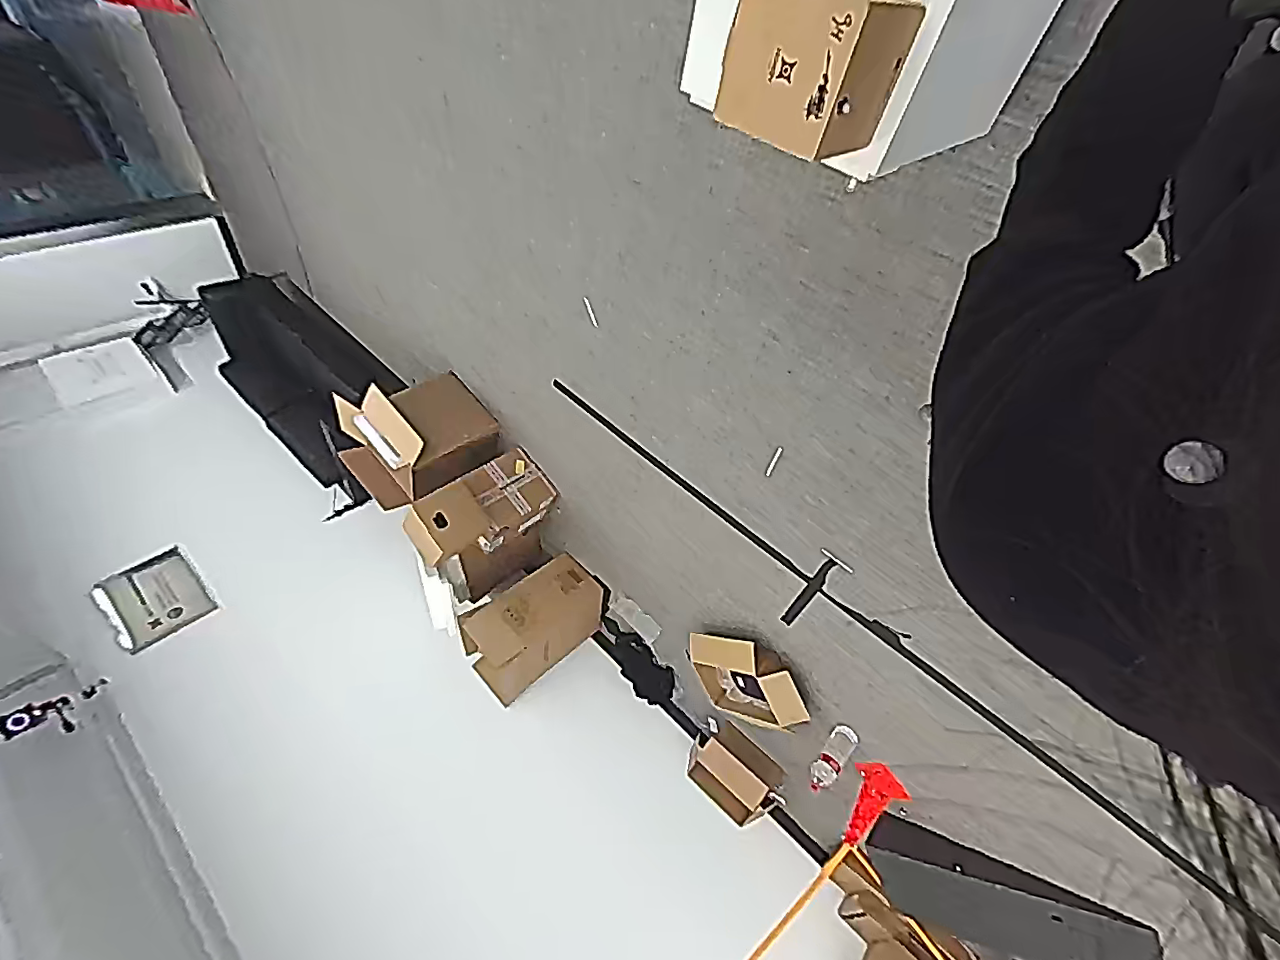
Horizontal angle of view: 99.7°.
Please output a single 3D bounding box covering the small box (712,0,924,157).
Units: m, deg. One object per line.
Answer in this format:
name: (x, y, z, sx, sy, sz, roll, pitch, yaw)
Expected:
small box: (0.231, -0.558, 0.720, 0.179, 0.176, 0.168, 40, 143, 22)
